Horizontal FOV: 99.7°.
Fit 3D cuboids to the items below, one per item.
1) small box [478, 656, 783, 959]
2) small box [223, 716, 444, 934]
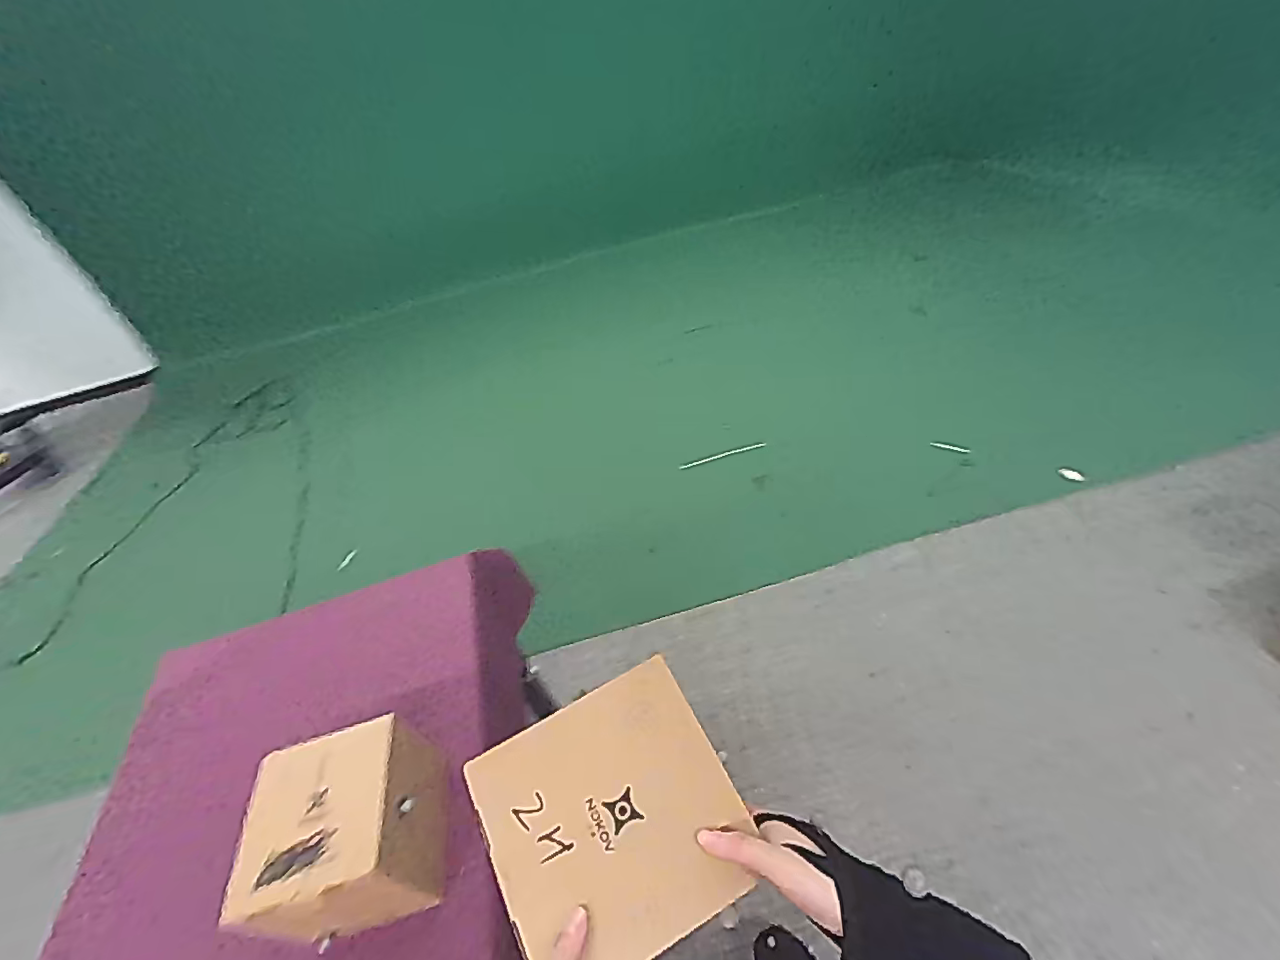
[{"bbox_3d":[-0.008,0.276,0.460,0.179,0.176,0.168,-26,62,-9],"label":"small box"},{"bbox_3d":[-0.359,0.436,0.677,0.168,0.176,0.179,-18,42,-3],"label":"small box"}]
